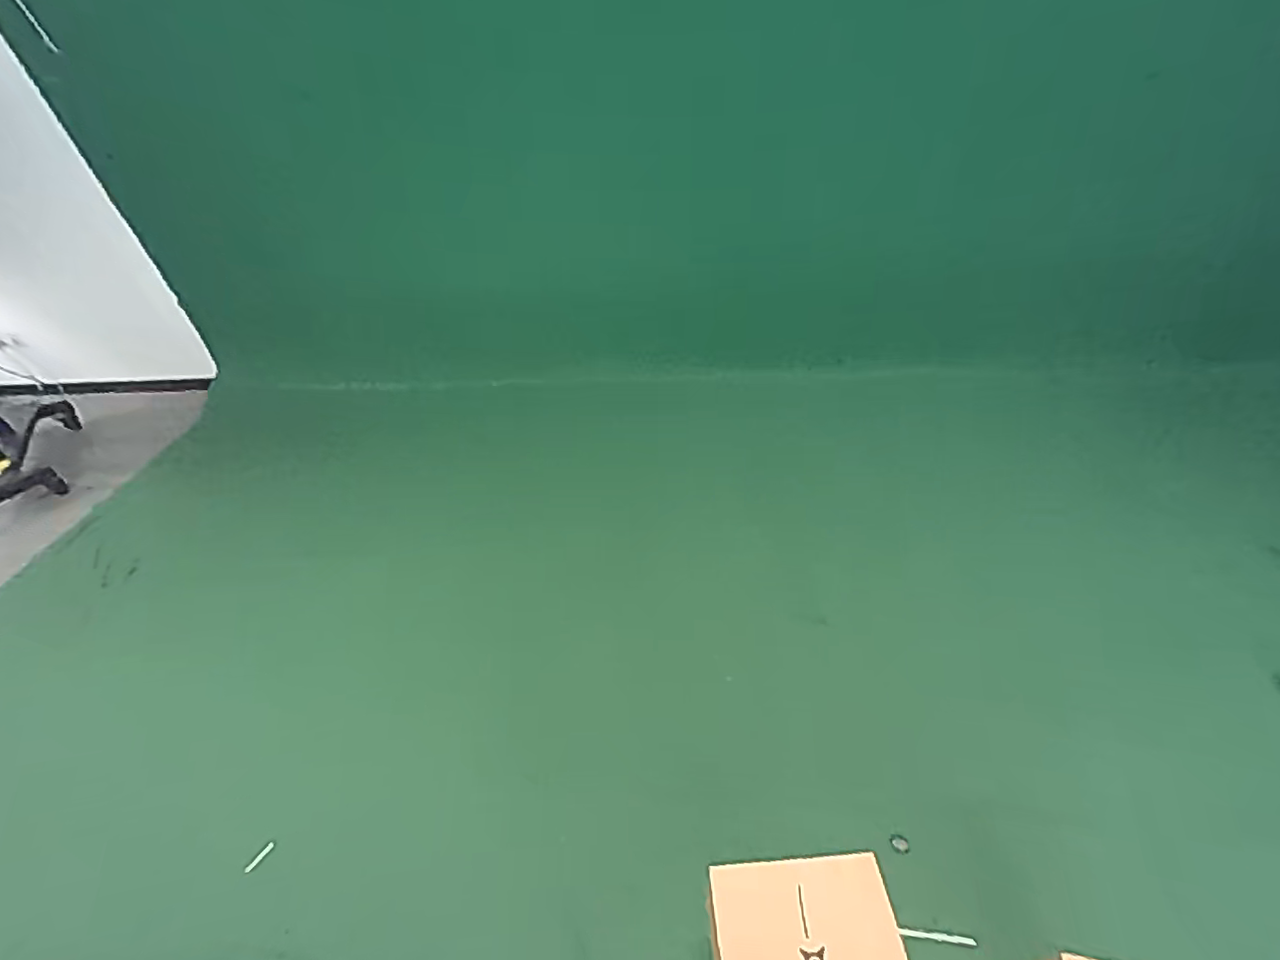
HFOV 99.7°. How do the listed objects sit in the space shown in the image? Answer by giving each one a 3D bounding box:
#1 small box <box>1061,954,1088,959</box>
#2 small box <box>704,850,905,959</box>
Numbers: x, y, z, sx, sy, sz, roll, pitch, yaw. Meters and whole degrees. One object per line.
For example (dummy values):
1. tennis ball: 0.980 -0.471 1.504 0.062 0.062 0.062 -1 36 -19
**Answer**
1. small box: 0.796 0.945 0.911 0.168 0.176 0.179 5 42 12
2. small box: 0.155 0.483 0.516 0.168 0.176 0.179 -6 42 1
